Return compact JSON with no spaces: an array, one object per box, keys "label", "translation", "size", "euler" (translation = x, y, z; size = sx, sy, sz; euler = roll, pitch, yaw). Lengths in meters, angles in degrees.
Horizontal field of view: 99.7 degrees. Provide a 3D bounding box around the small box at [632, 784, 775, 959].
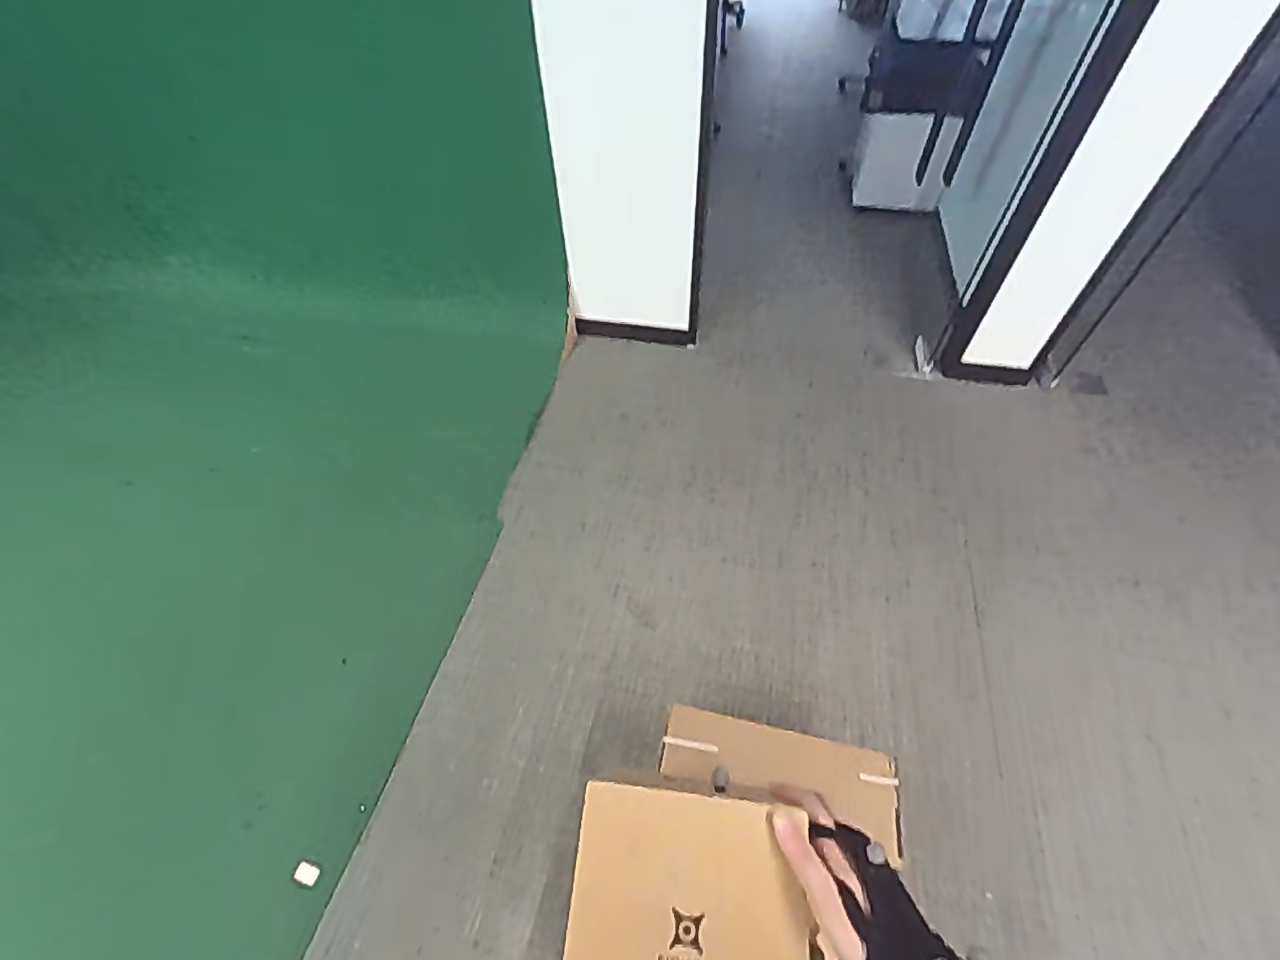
[{"label":"small box","translation":[0.092,0.569,0.792],"size":[0.179,0.176,0.168],"euler":[8,50,9]}]
